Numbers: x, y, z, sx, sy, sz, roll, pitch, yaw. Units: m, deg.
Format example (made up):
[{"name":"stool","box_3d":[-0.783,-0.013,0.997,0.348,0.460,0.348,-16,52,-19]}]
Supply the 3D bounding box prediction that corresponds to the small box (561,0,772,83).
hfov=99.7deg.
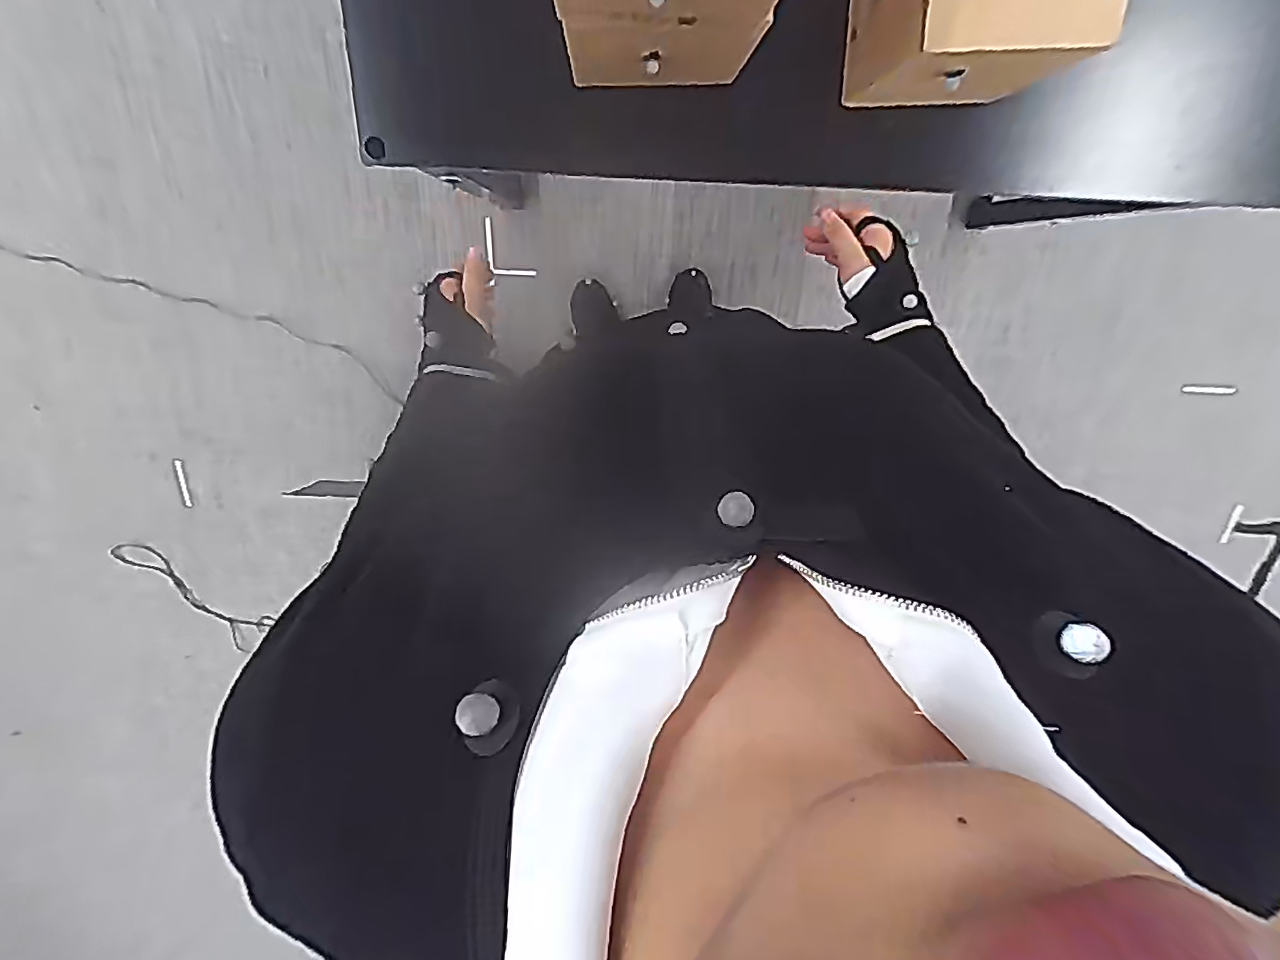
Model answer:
[{"name":"small box","box_3d":[0.018,-0.485,0.491,0.179,0.176,0.168,-2,111,-1]}]

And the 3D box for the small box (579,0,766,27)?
[{"name":"small box","box_3d":[0.024,-0.424,0.338,0.168,0.176,0.179,2,111,-4]}]

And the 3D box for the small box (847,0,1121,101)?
[{"name":"small box","box_3d":[0.314,-0.477,0.509,0.179,0.176,0.168,-3,111,-1]}]
